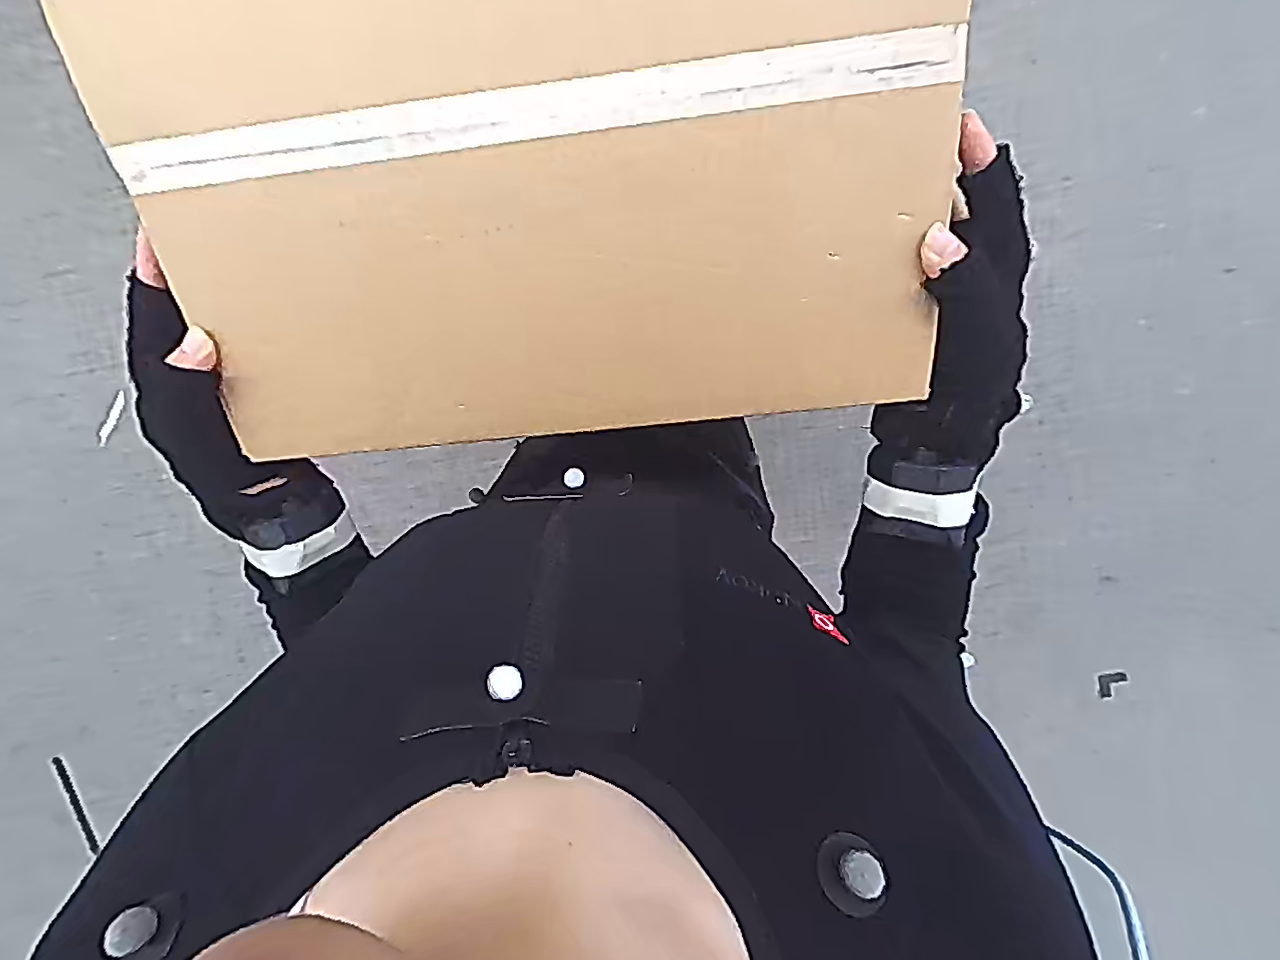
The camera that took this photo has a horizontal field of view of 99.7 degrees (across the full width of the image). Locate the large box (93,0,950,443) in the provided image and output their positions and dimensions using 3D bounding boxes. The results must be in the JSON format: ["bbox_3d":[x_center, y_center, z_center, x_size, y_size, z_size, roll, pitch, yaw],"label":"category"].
[{"bbox_3d":[-0.051,-0.241,0.404,0.408,0.320,0.320,-5,114,4],"label":"large box"}]
